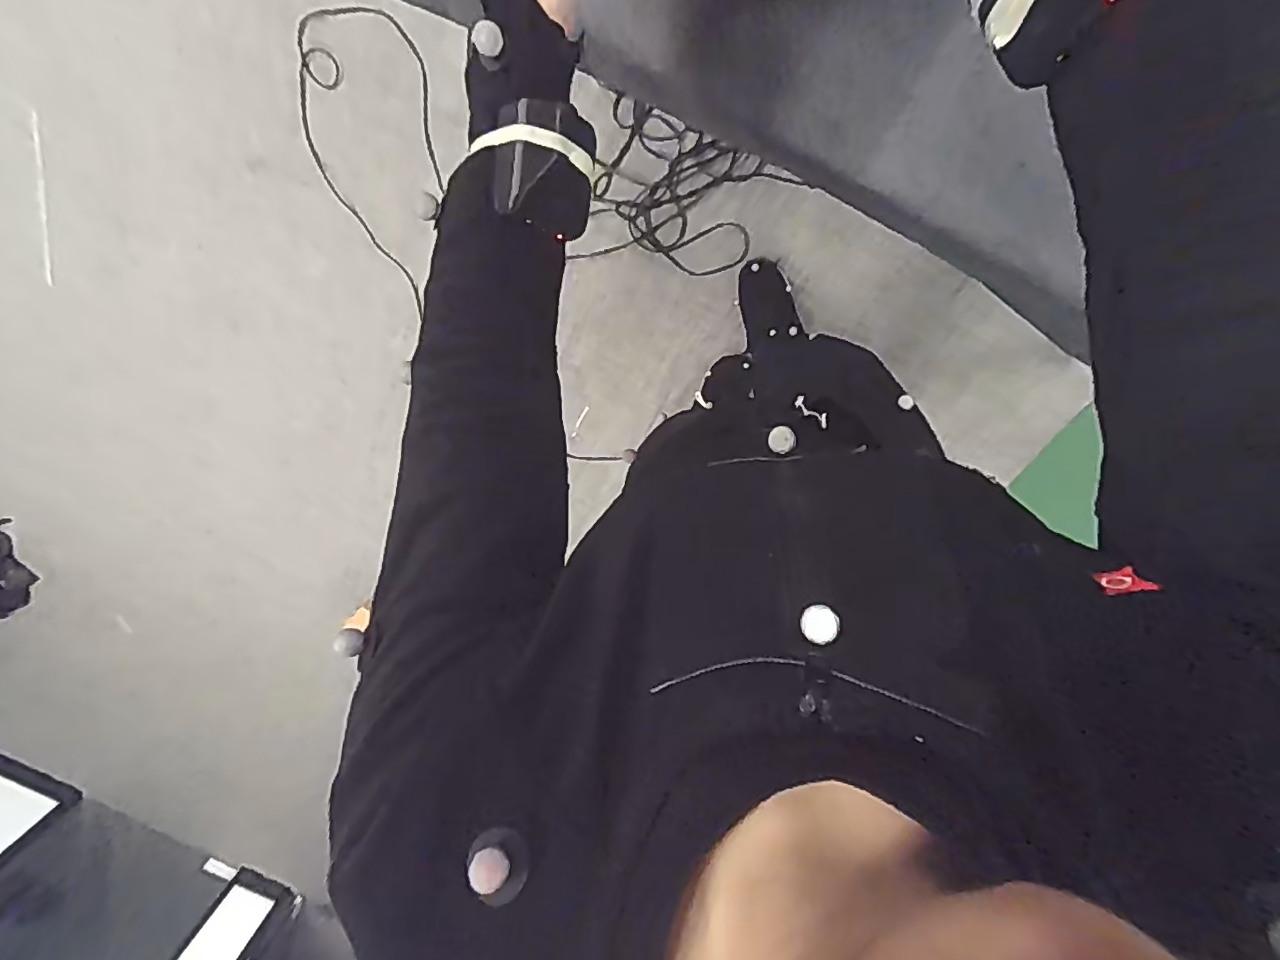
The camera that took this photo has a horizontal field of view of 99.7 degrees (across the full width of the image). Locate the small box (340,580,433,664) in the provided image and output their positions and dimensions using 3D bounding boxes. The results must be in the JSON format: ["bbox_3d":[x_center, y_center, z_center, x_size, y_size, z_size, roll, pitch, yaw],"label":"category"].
[{"bbox_3d":[-0.814,0.449,1.748,0.179,0.176,0.168,43,116,-11],"label":"small box"}]
